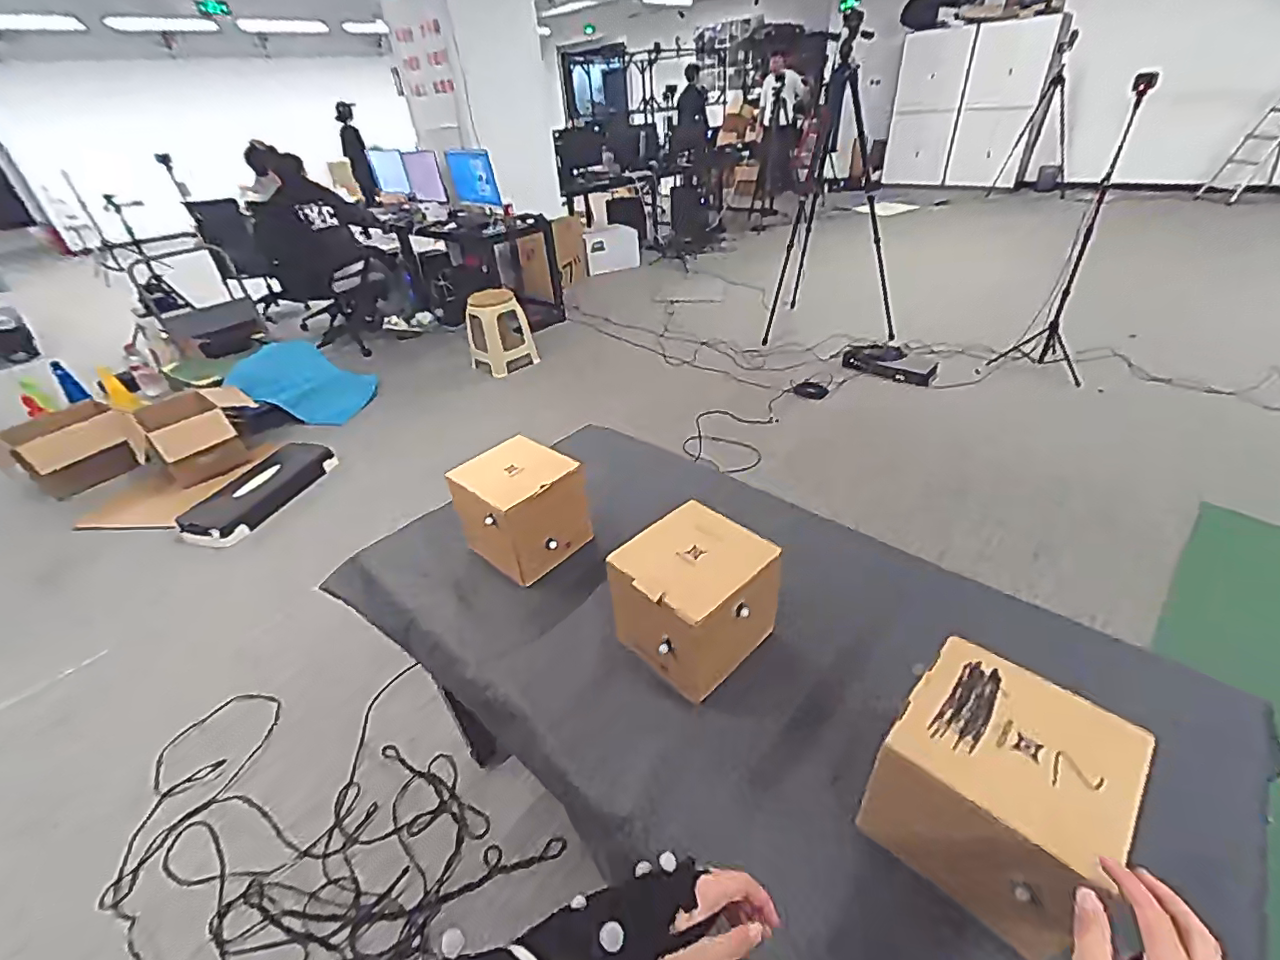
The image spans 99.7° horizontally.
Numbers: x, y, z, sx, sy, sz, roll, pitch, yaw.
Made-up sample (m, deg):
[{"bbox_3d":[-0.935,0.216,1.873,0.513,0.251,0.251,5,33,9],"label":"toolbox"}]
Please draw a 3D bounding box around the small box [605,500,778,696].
[{"bbox_3d":[0.074,0.163,0.765,0.179,0.176,0.168,-31,44,-33],"label":"small box"}]

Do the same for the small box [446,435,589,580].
[{"bbox_3d":[-0.213,0.048,0.965,0.179,0.176,0.168,25,44,34],"label":"small box"}]
